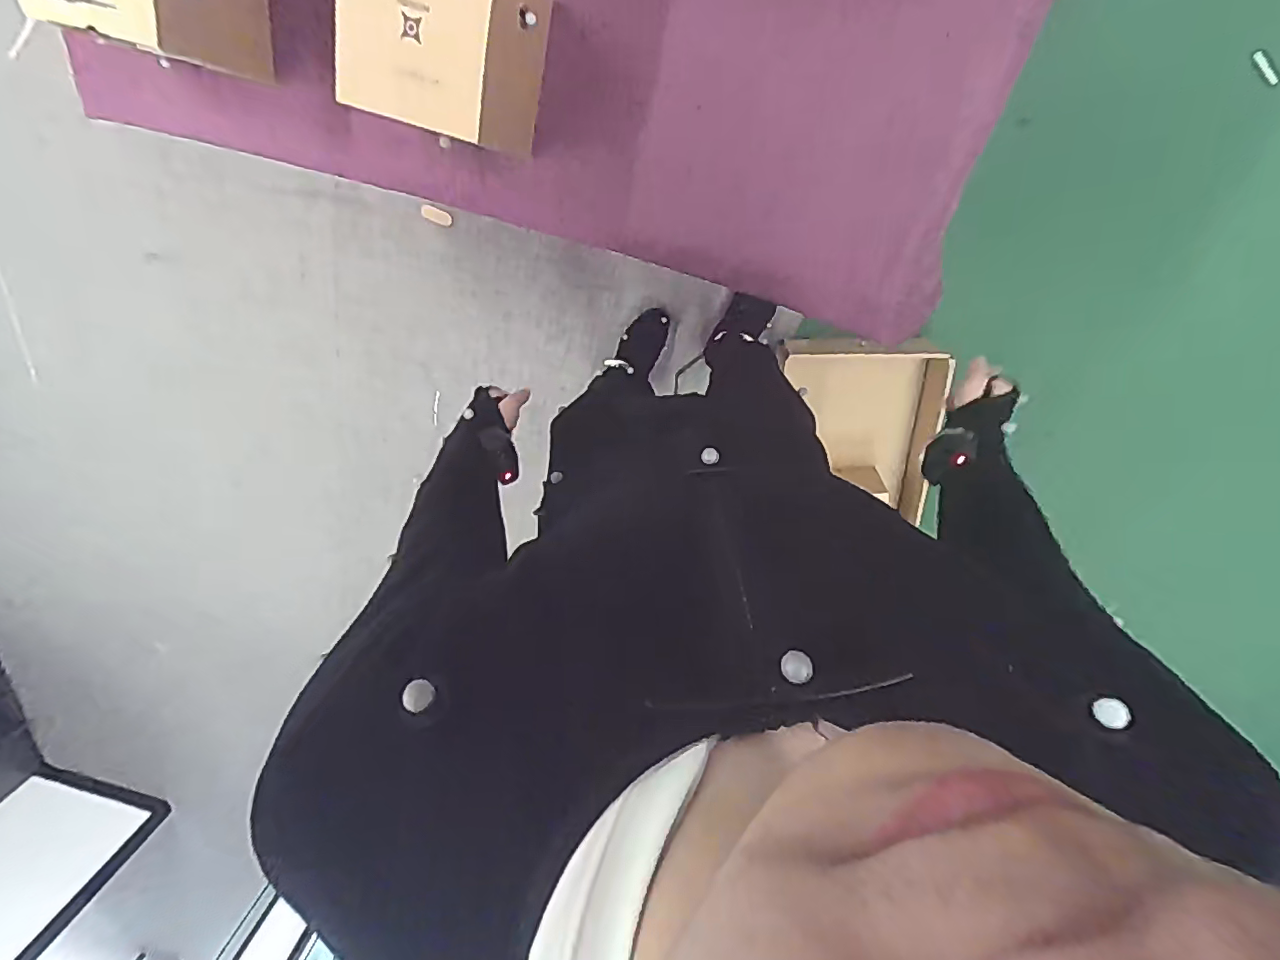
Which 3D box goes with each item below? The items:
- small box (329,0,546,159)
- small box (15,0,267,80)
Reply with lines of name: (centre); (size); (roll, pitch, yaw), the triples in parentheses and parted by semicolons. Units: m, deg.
small box: (-0.217, -0.486, 0.608); (0.168, 0.176, 0.179); (19, 118, 2)
small box: (-0.564, -0.590, 0.617); (0.168, 0.176, 0.179); (16, 117, 2)
